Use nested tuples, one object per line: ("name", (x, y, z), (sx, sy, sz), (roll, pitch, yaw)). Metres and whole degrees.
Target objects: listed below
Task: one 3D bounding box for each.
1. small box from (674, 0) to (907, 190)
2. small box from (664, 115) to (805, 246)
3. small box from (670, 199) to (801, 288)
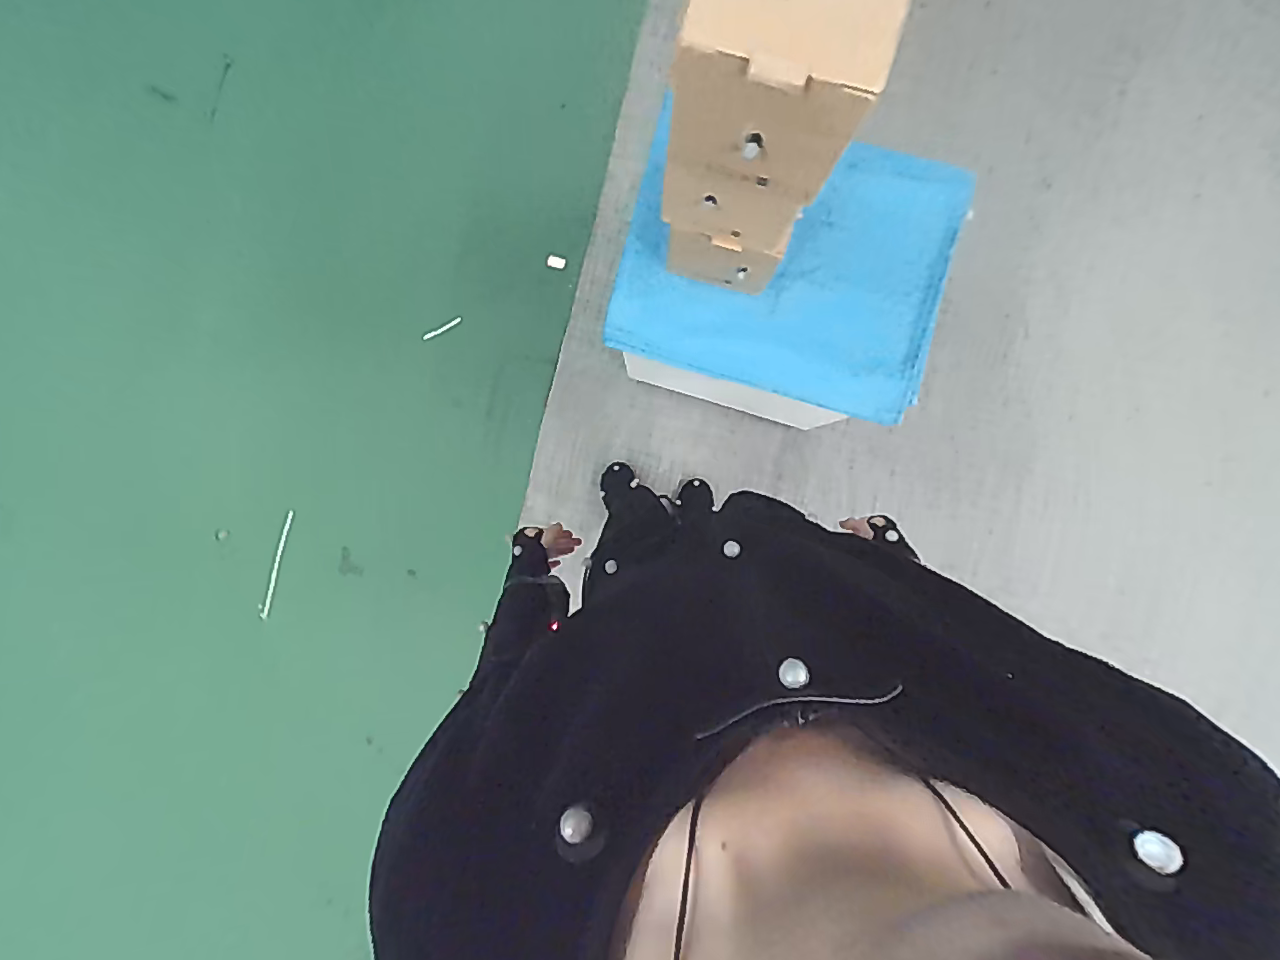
("small box", (0.132, -0.404, 0.492), (0.168, 0.176, 0.179), (18, 91, 0))
("small box", (0.132, -0.417, 0.656), (0.168, 0.176, 0.179), (18, 90, 0))
("small box", (0.146, -0.415, 0.818), (0.168, 0.176, 0.179), (17, 90, 0))
